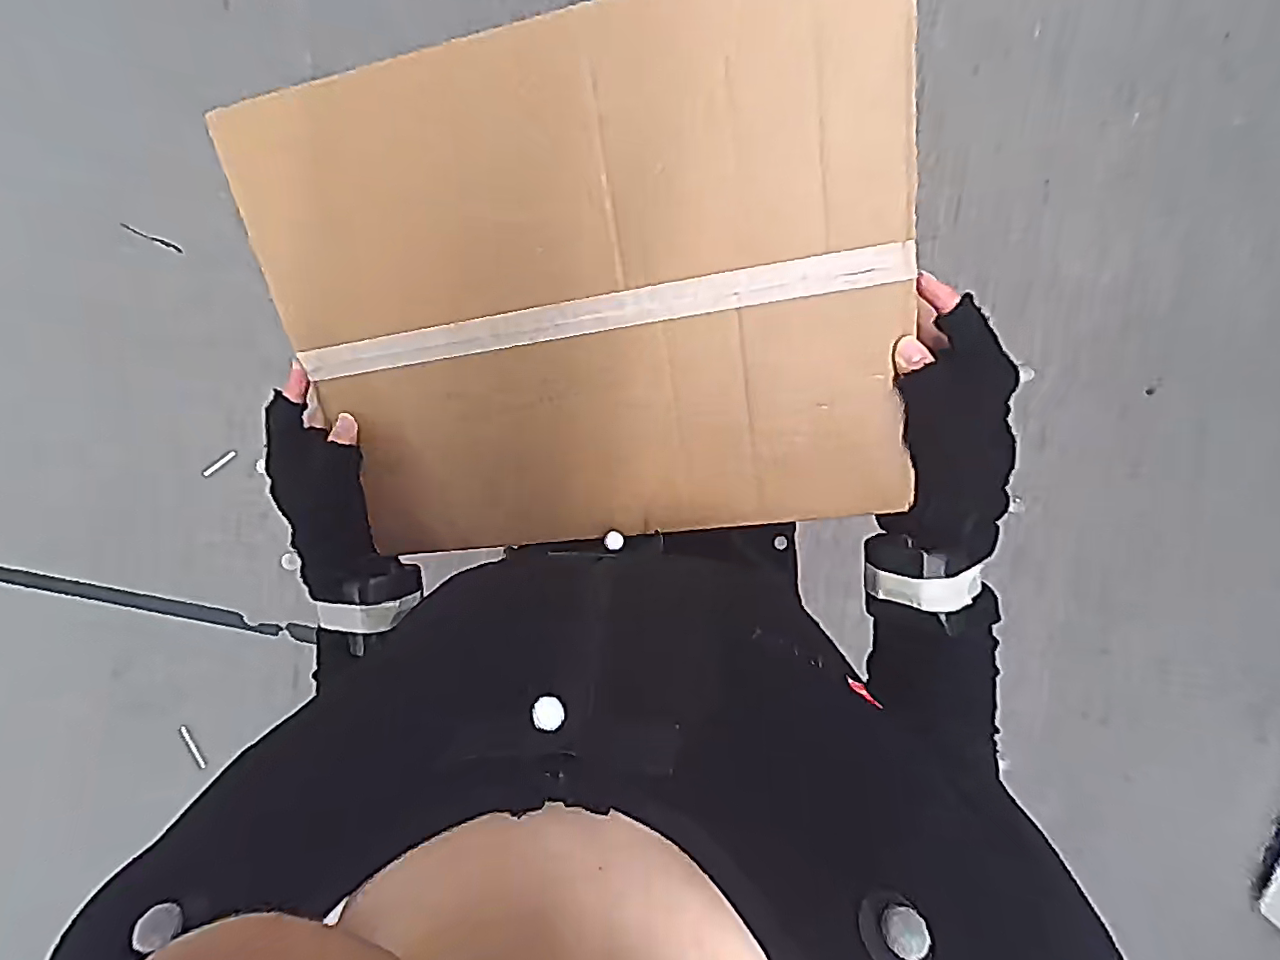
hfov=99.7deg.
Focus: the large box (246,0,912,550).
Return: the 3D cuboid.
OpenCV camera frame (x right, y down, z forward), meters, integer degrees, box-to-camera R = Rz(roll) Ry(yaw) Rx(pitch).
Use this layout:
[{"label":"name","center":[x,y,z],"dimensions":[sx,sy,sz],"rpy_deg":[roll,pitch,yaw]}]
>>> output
[{"label":"large box","center":[-0.015,-0.159,0.491],"dimensions":[0.408,0.320,0.320],"rpy_deg":[-6,111,12]}]
